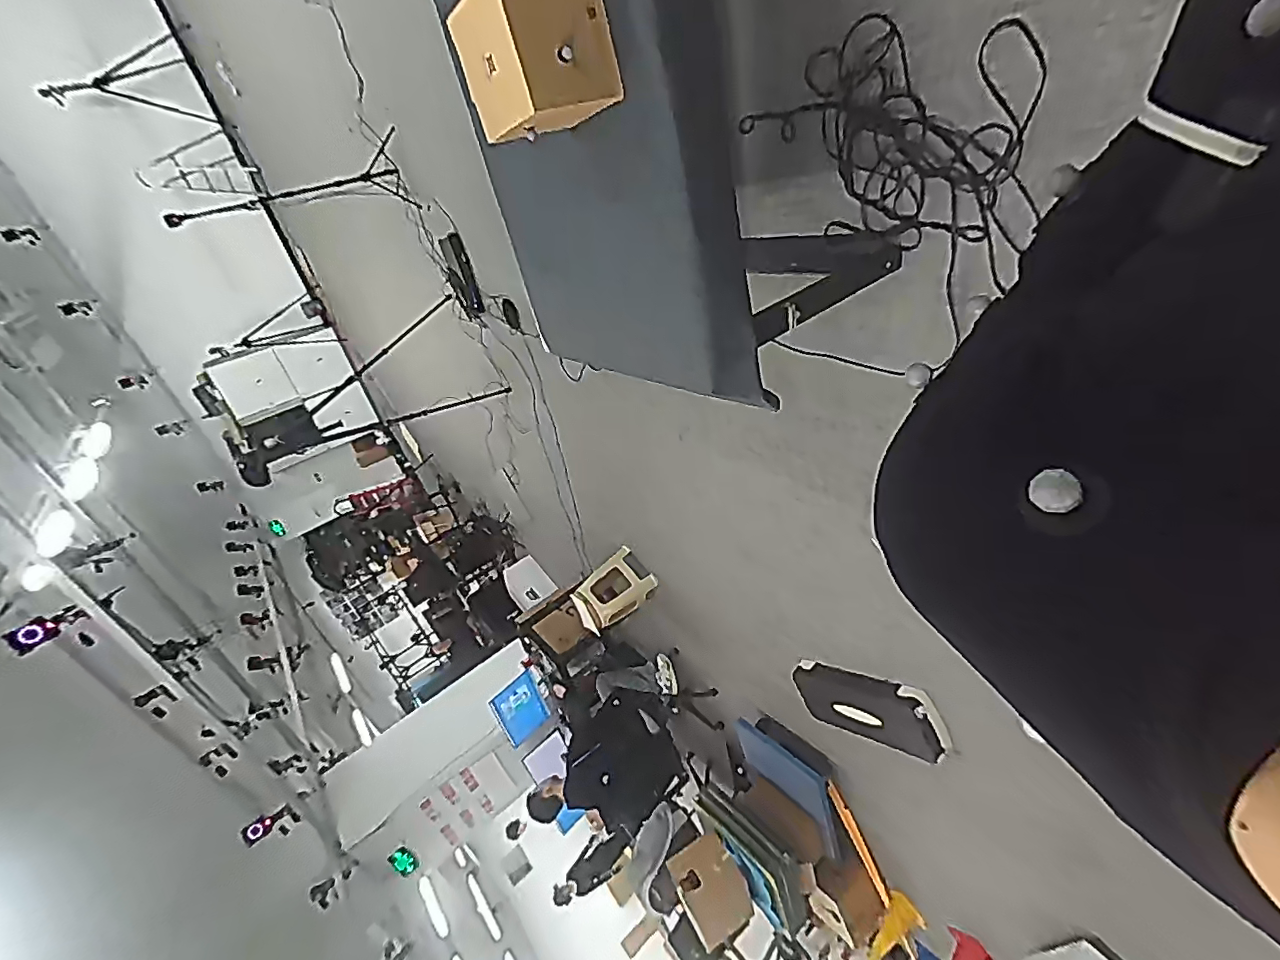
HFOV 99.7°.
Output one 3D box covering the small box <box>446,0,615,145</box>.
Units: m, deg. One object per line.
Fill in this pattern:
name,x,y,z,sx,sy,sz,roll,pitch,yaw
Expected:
small box,-0.154,-0.631,0.810,0.179,0.176,0.168,21,136,51
